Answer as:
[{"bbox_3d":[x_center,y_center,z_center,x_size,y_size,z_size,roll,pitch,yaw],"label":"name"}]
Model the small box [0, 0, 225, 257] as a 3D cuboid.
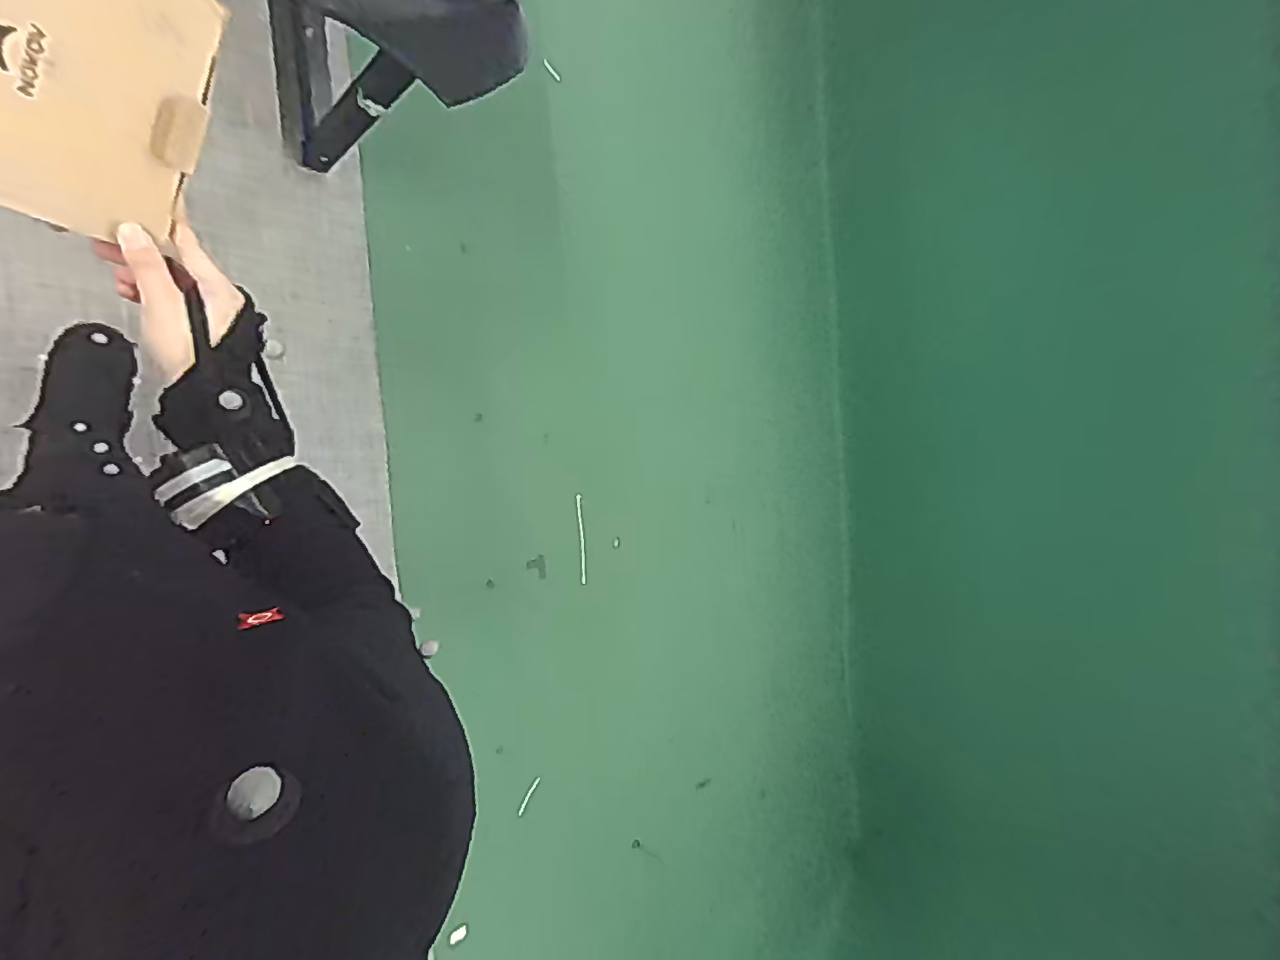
[{"bbox_3d":[-0.394,-0.266,0.325,0.179,0.176,0.168,10,108,-52],"label":"small box"}]
